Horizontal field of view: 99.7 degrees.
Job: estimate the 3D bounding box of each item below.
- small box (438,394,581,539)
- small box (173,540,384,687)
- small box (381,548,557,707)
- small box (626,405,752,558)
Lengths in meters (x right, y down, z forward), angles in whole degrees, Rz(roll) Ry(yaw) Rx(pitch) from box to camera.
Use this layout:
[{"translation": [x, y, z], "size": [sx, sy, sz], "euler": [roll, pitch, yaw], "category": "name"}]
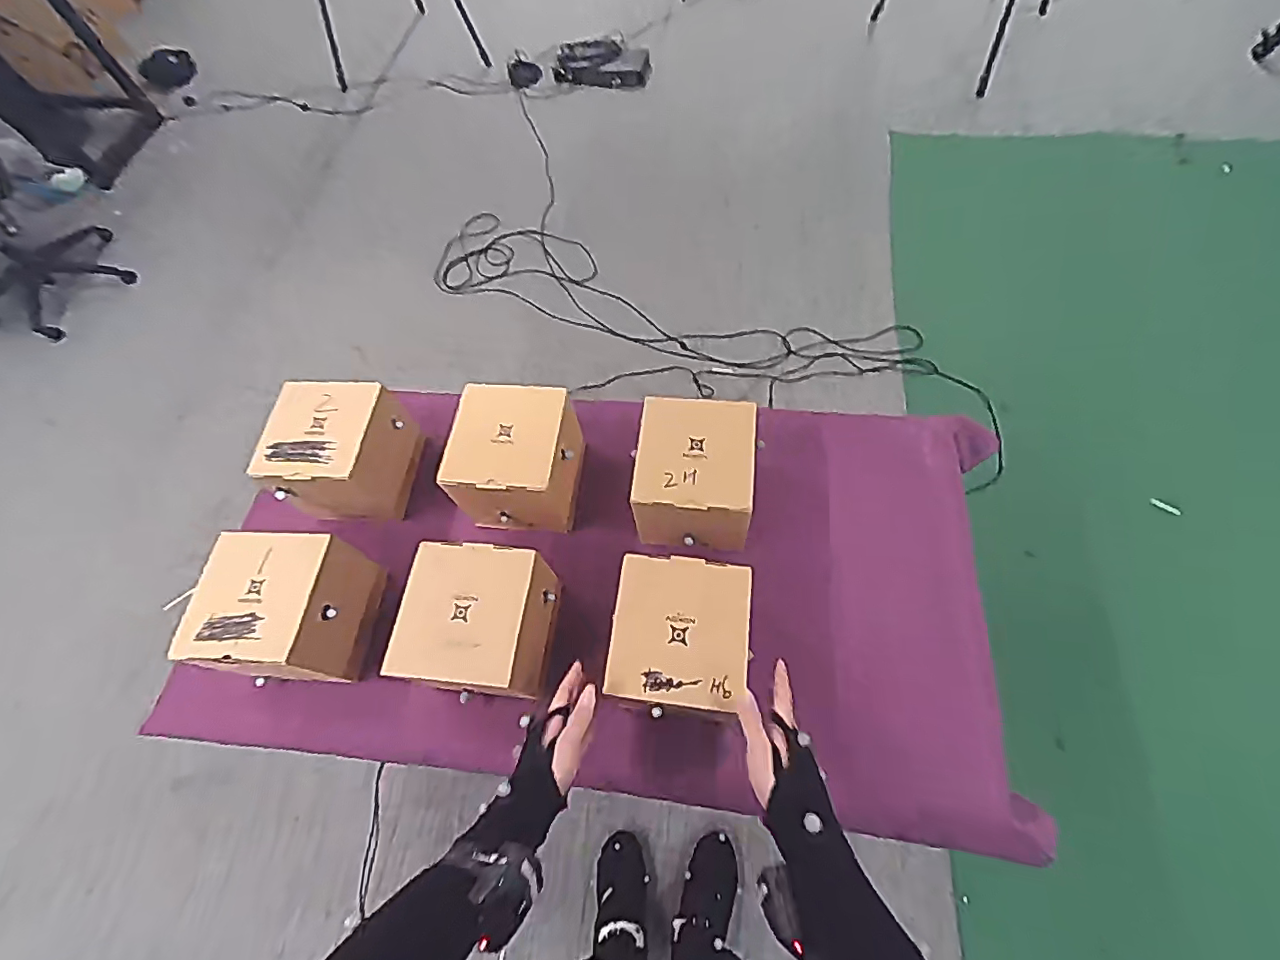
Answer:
[{"translation": [-0.198, -0.019, 0.881], "size": [0.168, 0.176, 0.179], "euler": [3, 65, 7], "category": "small box"}, {"translation": [-0.509, 0.202, 0.796], "size": [0.168, 0.176, 0.179], "euler": [1, 61, 6], "category": "small box"}, {"translation": [-0.224, 0.212, 0.764], "size": [0.168, 0.176, 0.179], "euler": [3, 64, 9], "category": "small box"}, {"translation": [0.079, 0.006, 0.836], "size": [0.168, 0.176, 0.179], "euler": [4, 64, 9], "category": "small box"}]
